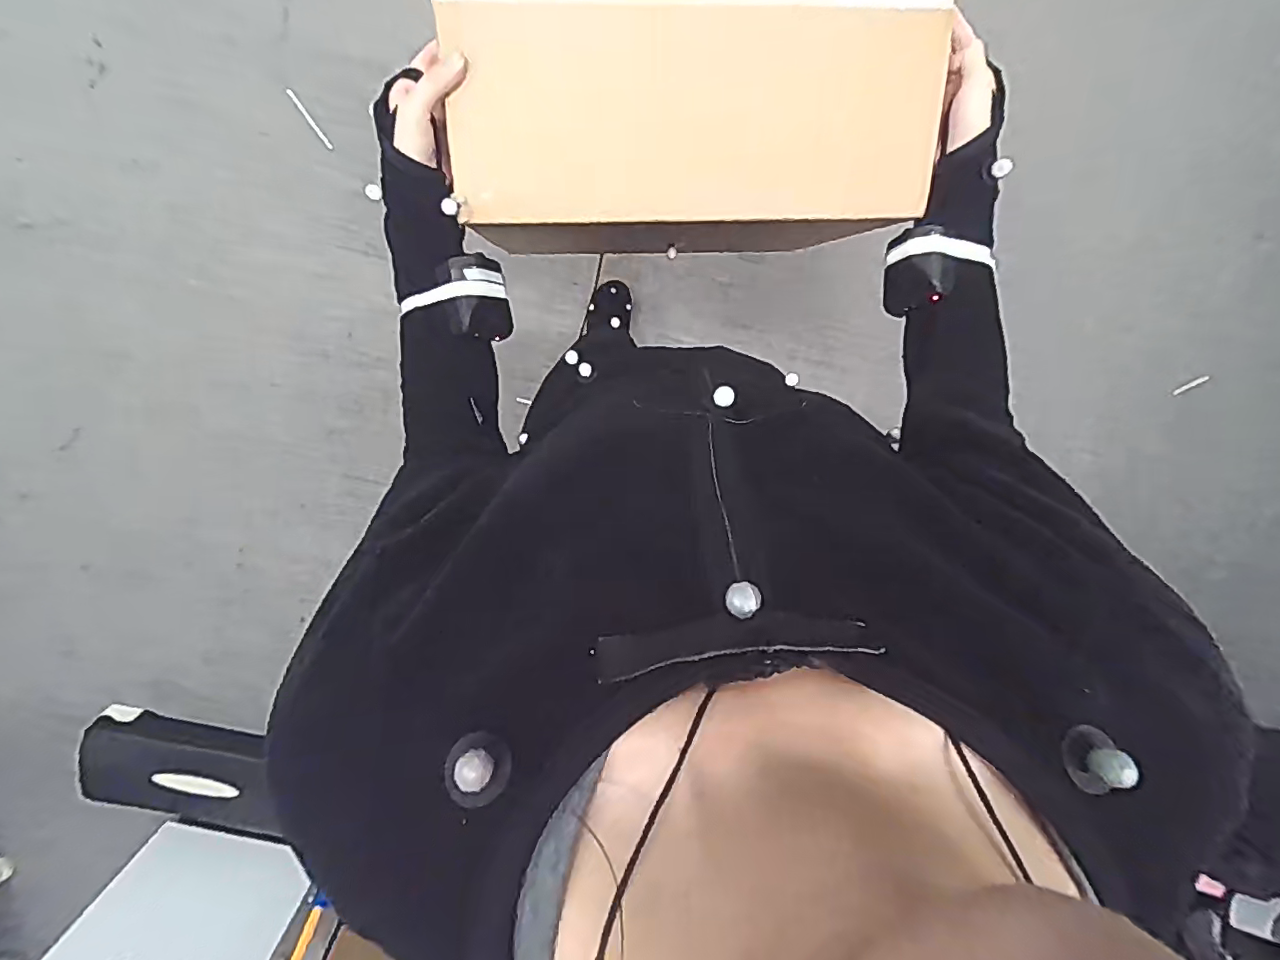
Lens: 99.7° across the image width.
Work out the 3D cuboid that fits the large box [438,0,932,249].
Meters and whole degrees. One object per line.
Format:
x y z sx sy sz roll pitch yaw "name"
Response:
0.031 -0.425 0.567 0.408 0.320 0.320 -3 108 -4 "large box"
